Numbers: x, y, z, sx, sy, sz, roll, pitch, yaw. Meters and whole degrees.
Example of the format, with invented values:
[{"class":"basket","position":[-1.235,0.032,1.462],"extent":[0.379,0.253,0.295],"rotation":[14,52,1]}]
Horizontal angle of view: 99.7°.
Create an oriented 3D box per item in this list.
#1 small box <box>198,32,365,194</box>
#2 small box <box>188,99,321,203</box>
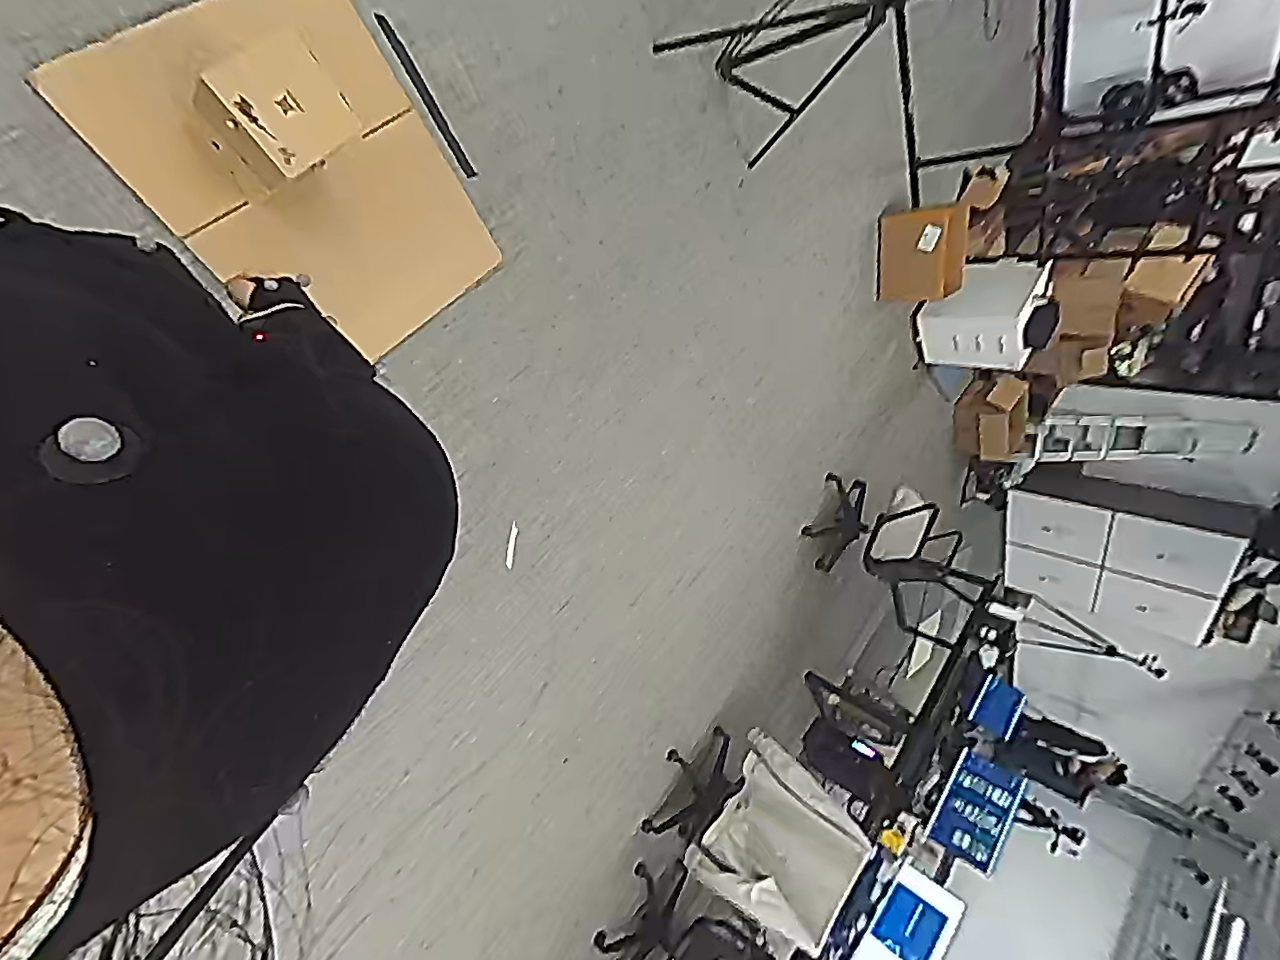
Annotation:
[{"class":"small box","position":[-0.640,-0.642,0.963],"extent":[0.179,0.176,0.168],"rotation":[-51,132,-20]},{"class":"small box","position":[-0.753,-0.678,1.077],"extent":[0.179,0.176,0.168],"rotation":[-50,132,-20]}]
